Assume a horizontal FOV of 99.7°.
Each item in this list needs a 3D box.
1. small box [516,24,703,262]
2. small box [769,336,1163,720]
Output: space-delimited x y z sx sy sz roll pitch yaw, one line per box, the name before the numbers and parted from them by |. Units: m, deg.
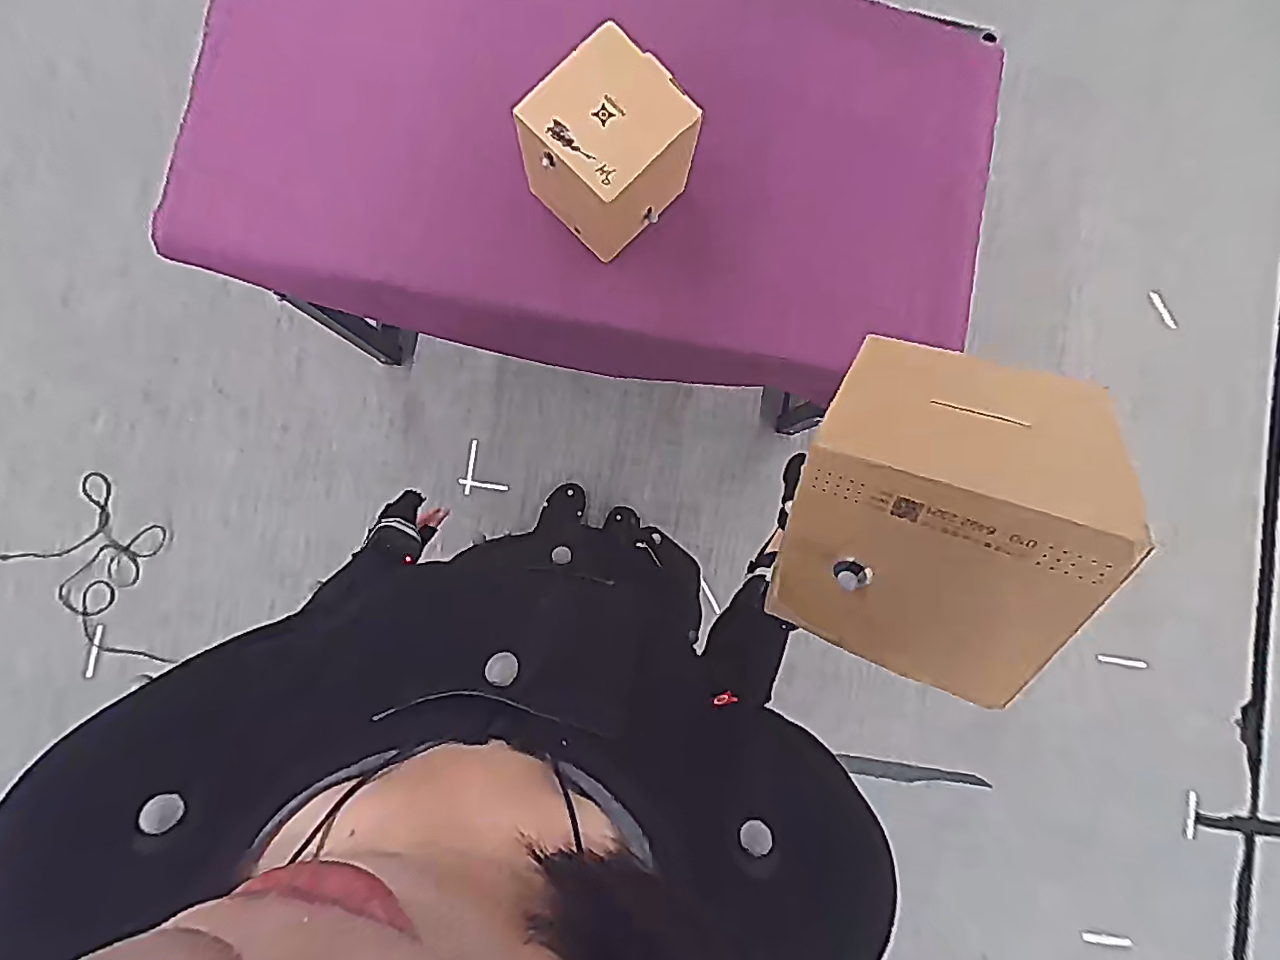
small box | -0.044 -0.444 0.740 0.168 0.176 0.179 44 84 -1
small box | 0.208 0.019 0.378 0.168 0.176 0.179 22 44 20
